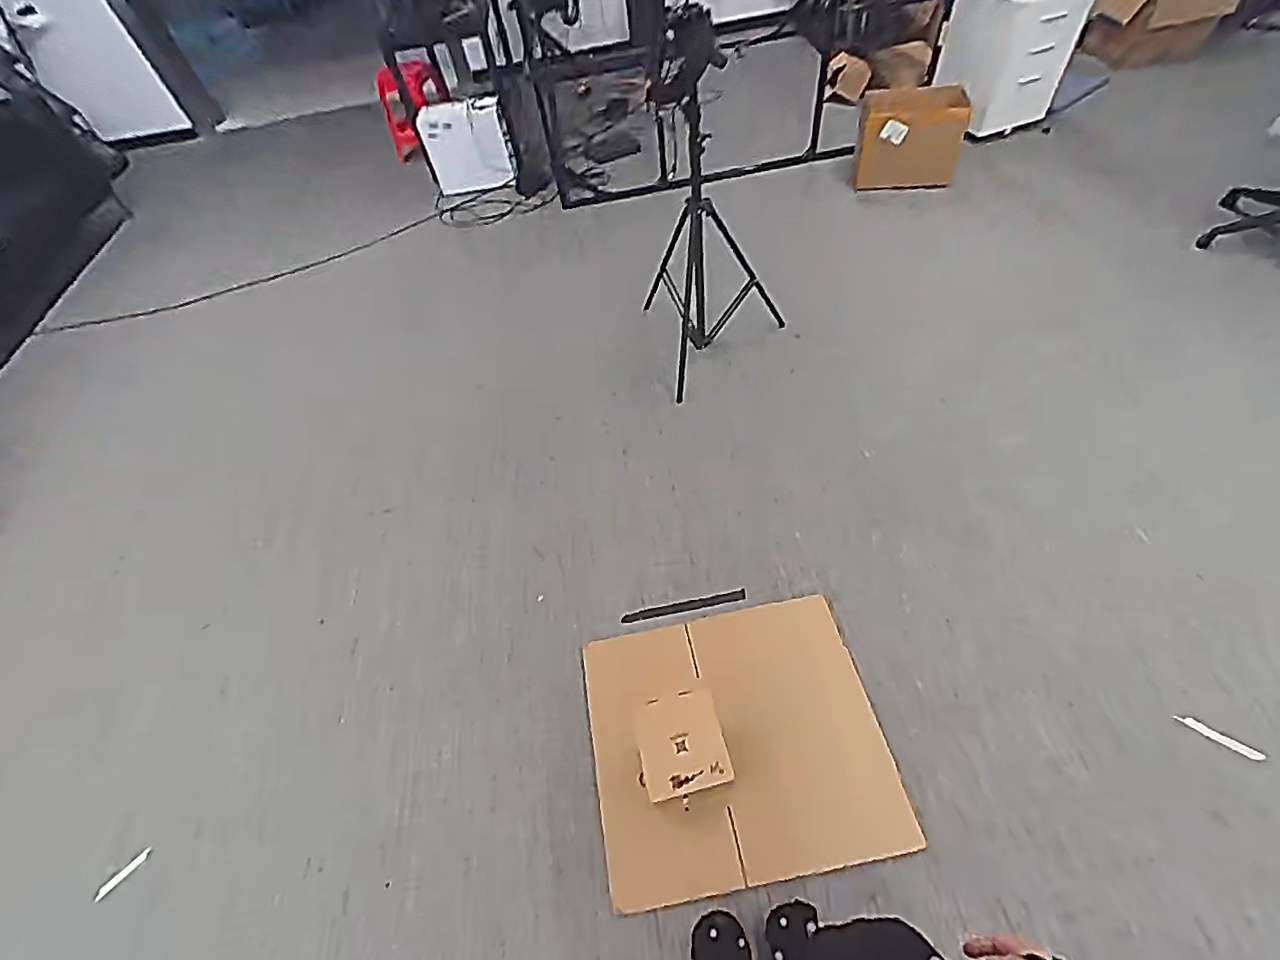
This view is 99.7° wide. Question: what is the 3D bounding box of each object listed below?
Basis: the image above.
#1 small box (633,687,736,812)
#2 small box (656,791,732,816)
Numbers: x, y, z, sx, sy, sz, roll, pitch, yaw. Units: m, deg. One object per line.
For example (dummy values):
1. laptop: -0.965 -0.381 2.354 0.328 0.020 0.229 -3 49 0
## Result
1. small box: 0.089 0.553 1.105 0.168 0.176 0.179 -15 53 -2
2. small box: 0.109 0.652 1.235 0.168 0.176 0.179 -14 53 -2
